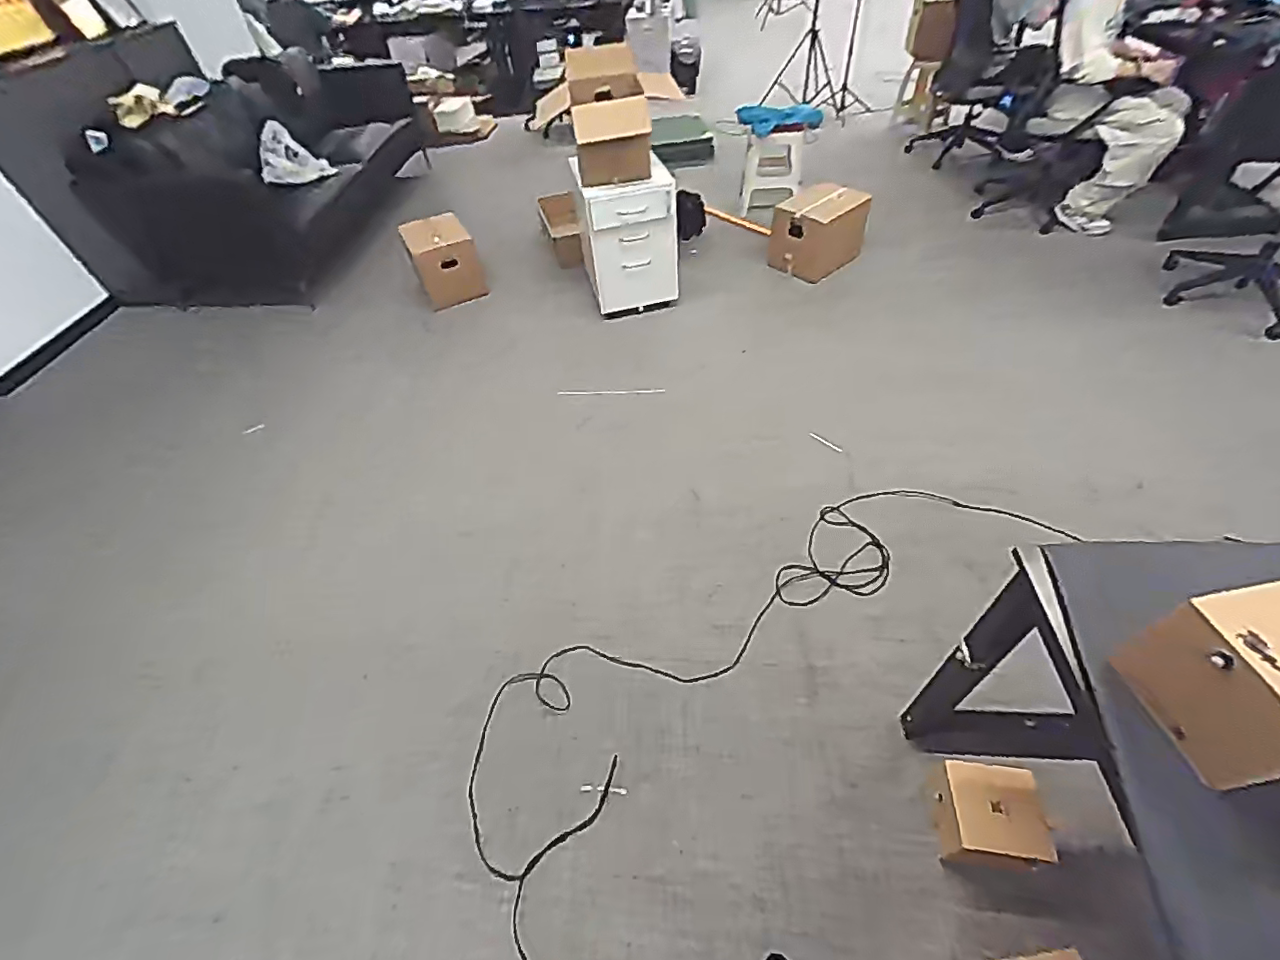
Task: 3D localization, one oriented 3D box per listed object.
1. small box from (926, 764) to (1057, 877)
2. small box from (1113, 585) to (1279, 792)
[{"bbox_3d":[0.734,0.732,1.158,0.179,0.176,0.168,4,48,9],"label":"small box"},{"bbox_3d":[0.717,0.236,0.619,0.179,0.176,0.168,-9,48,-2],"label":"small box"}]
